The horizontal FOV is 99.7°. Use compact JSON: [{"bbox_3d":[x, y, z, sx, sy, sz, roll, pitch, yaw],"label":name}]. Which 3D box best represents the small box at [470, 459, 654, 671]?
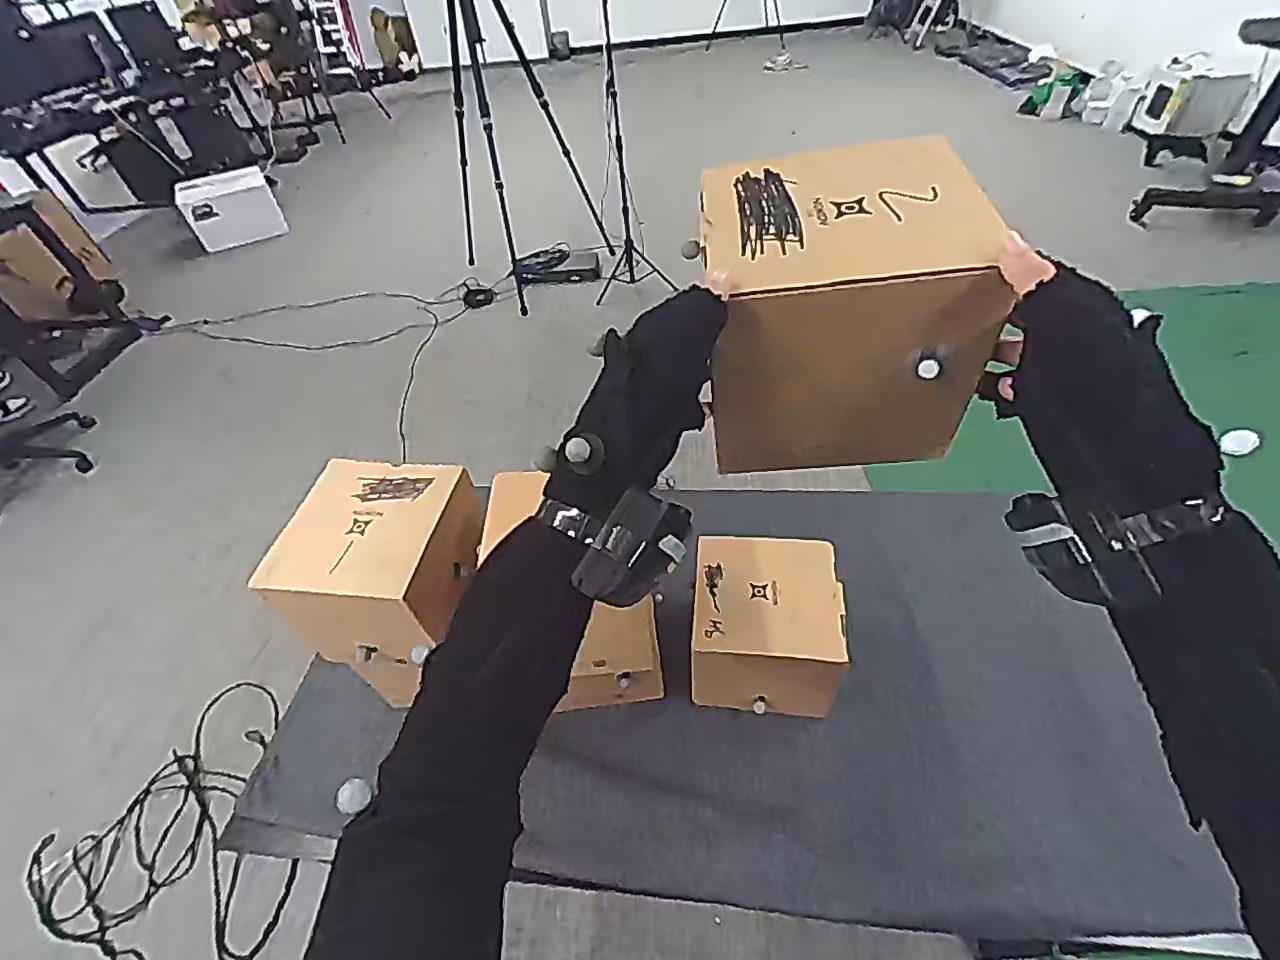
[{"bbox_3d":[-0.074,0.101,0.606,0.168,0.176,0.179,-5,46,0],"label":"small box"}]
